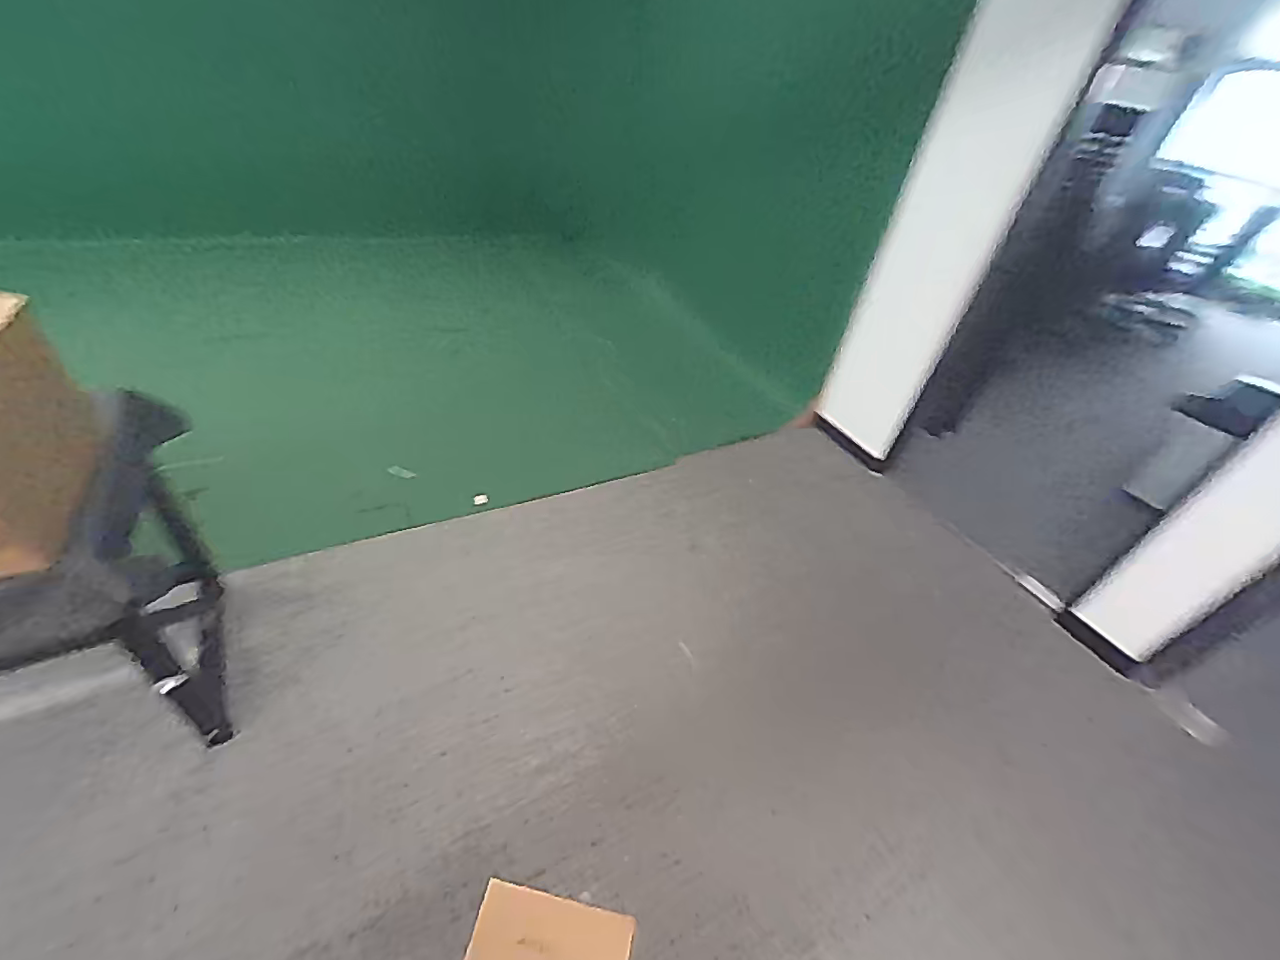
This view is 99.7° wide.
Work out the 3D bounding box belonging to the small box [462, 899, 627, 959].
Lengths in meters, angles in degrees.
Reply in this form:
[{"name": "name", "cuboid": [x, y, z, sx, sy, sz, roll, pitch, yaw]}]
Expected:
[{"name": "small box", "cuboid": [-0.107, 0.576, 0.574, 0.168, 0.176, 0.179, 8, 49, 6]}]
